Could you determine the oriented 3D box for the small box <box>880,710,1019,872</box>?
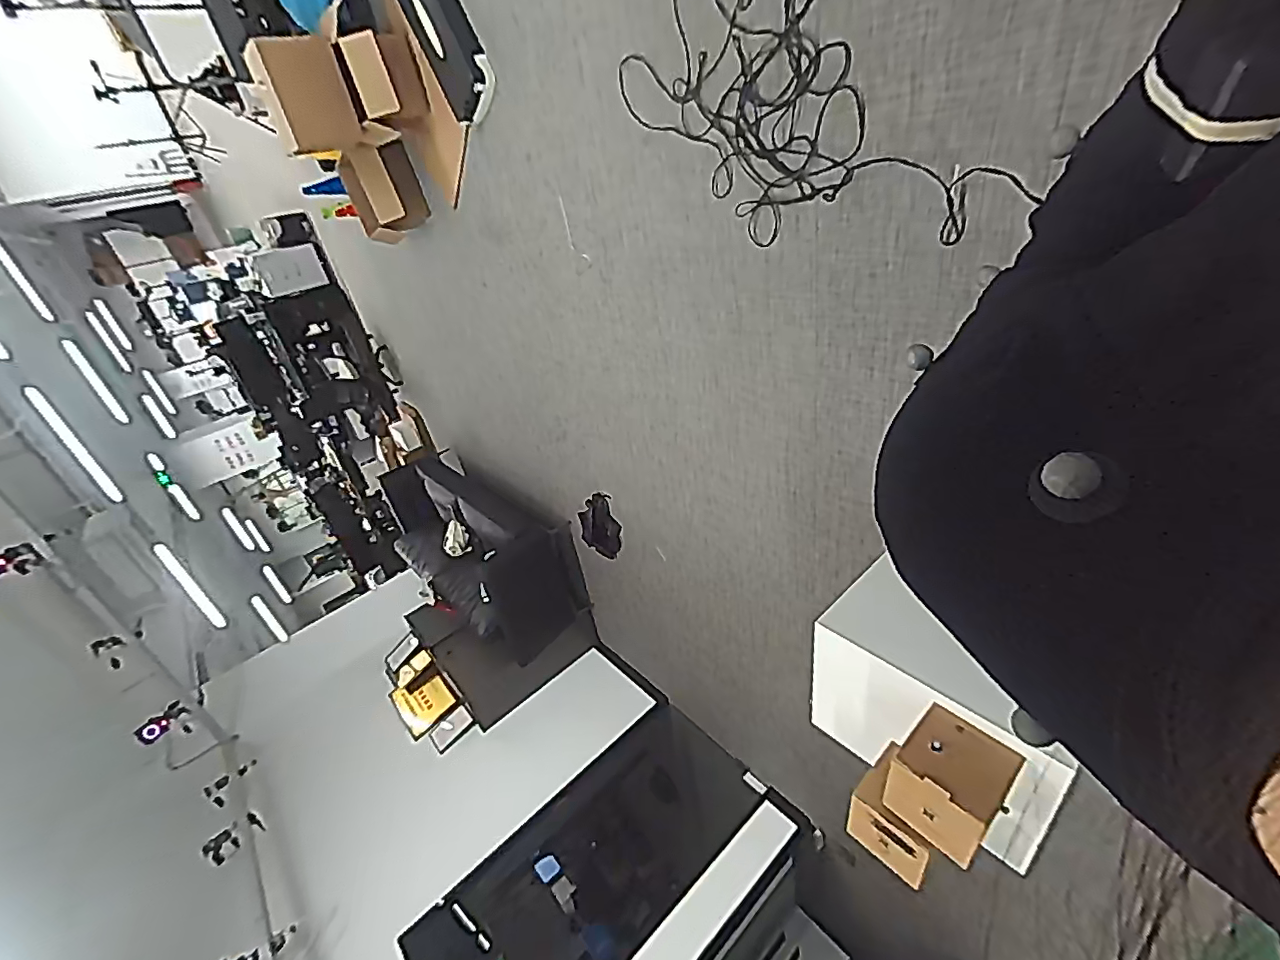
[{"bbox_3d":[0.587,0.581,1.030,0.168,0.176,0.179,29,140,44],"label":"small box"}]
